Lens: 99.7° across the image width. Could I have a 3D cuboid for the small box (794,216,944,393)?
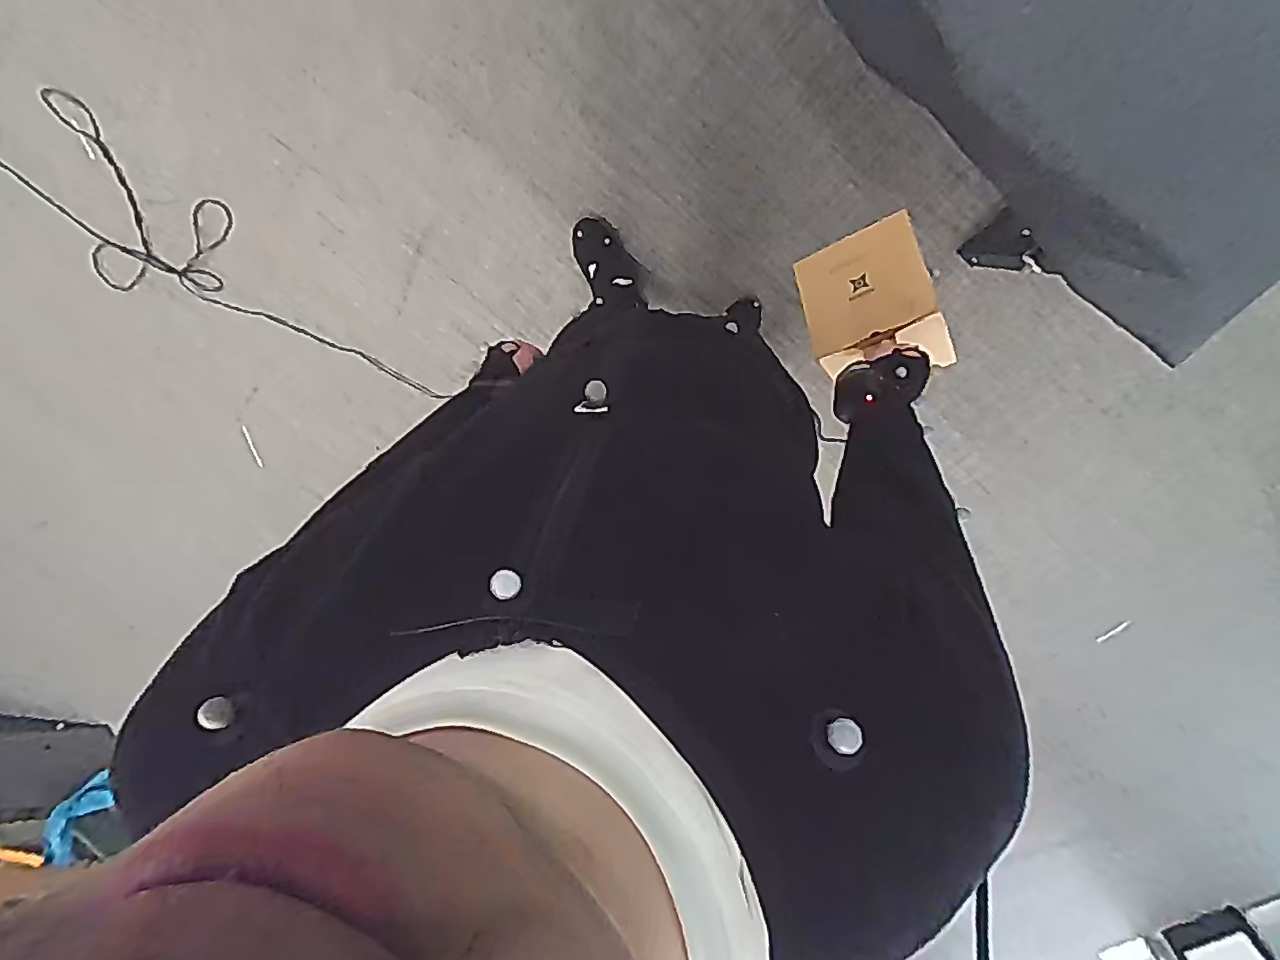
[{"bbox_3d":[0.352,-0.250,0.827,0.168,0.179,0.176,-15,156,30],"label":"small box"}]
